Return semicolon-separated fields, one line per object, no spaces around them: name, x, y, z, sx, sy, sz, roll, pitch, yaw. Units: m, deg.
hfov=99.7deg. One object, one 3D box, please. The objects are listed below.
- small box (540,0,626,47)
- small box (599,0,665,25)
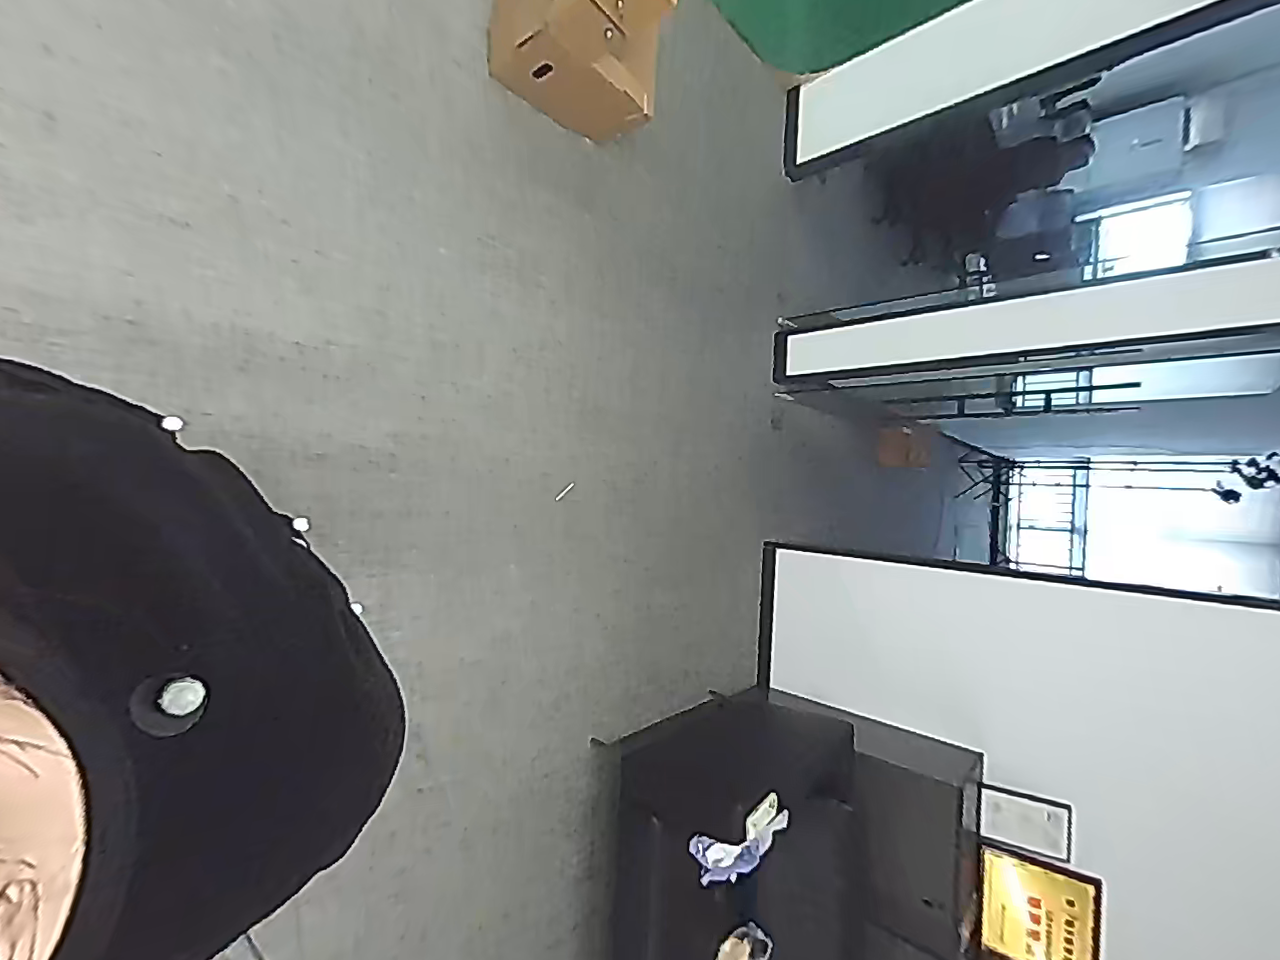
small box;-0.150;-1.346;1.485;0.179;0.176;0.168;6;88;-49
small box;-0.026;-1.336;1.380;0.168;0.176;0.179;7;88;-49
